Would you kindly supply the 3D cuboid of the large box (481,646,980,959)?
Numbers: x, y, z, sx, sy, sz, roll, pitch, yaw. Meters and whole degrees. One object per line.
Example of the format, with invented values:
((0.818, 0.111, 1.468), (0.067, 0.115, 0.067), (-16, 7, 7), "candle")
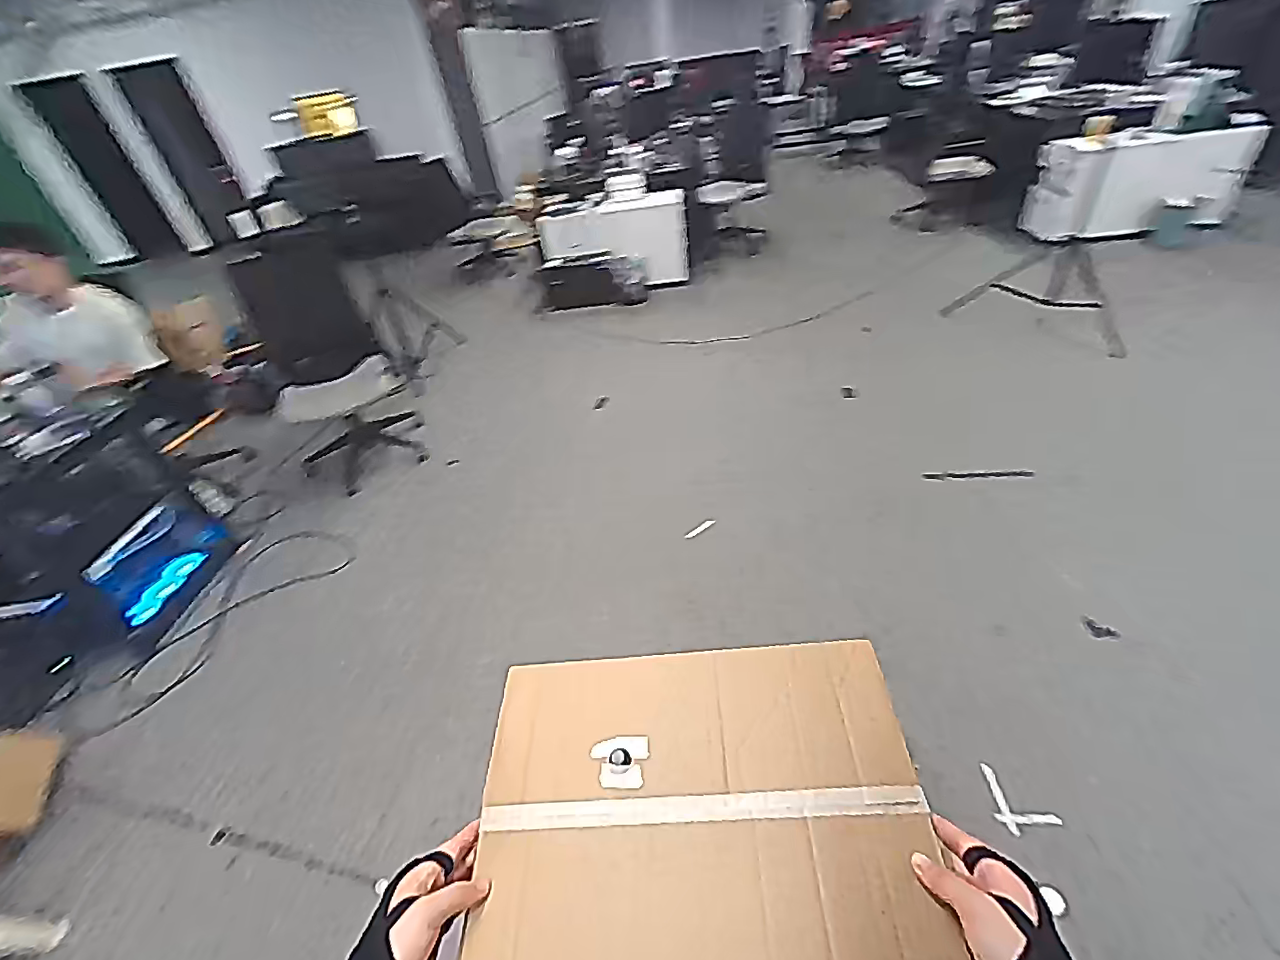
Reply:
((0.088, 0.416, 0.604), (0.408, 0.320, 0.320), (-7, 43, 8), "large box")
